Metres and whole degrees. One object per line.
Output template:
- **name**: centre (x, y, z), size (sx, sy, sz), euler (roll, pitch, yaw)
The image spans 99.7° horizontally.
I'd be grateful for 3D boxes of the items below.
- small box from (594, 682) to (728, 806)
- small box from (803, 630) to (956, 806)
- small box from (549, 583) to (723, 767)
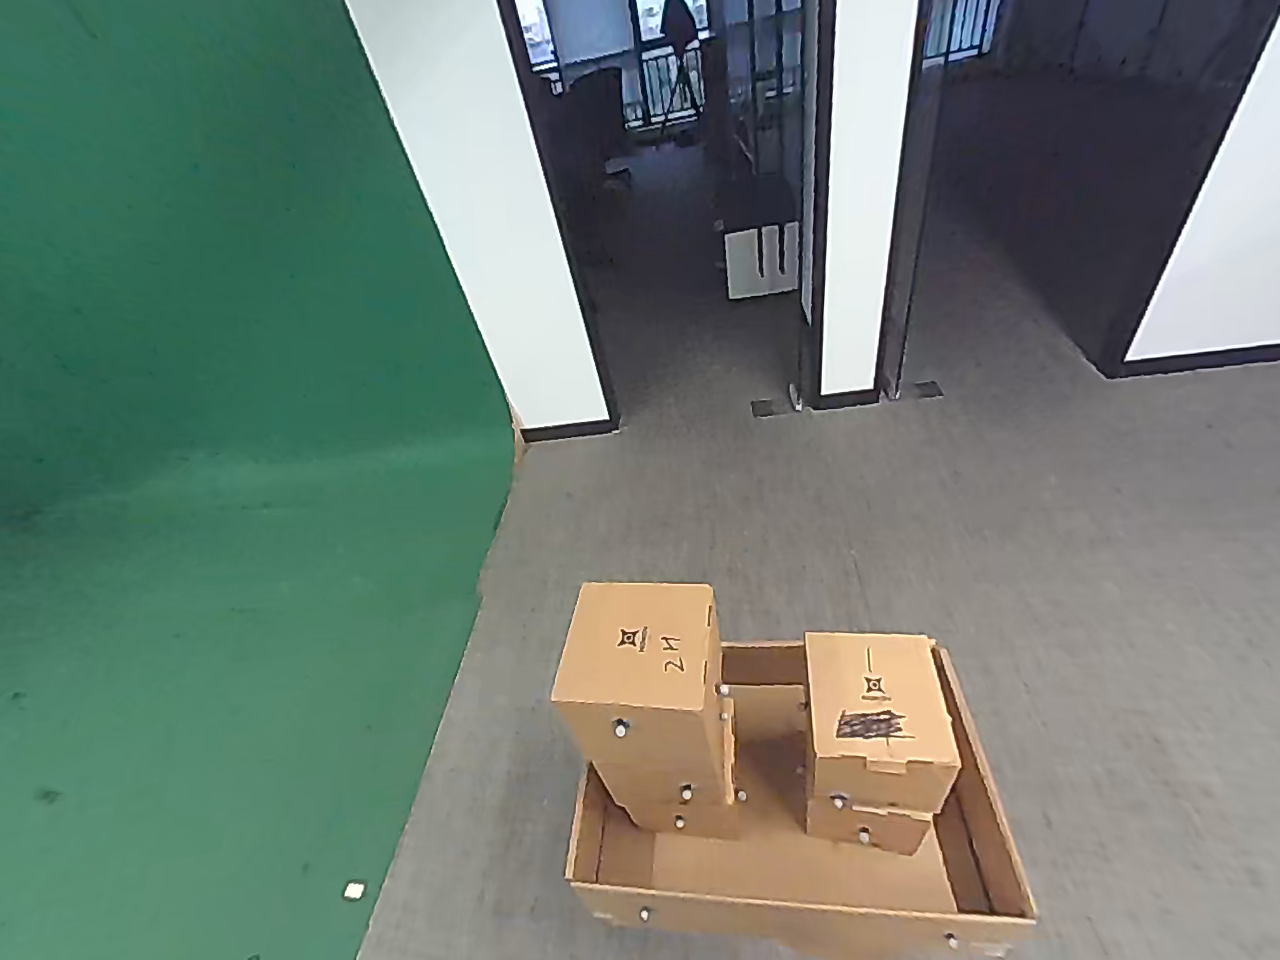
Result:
- **small box**: centre (0.042, 0.367, 0.812), size (0.168, 0.176, 0.179), euler (-4, 41, 12)
- **small box**: centre (0.322, 0.334, 0.762), size (0.168, 0.176, 0.179), euler (-3, 41, 14)
- **small box**: centre (0.008, 0.251, 0.700), size (0.179, 0.176, 0.168), euler (-2, 43, 14)
